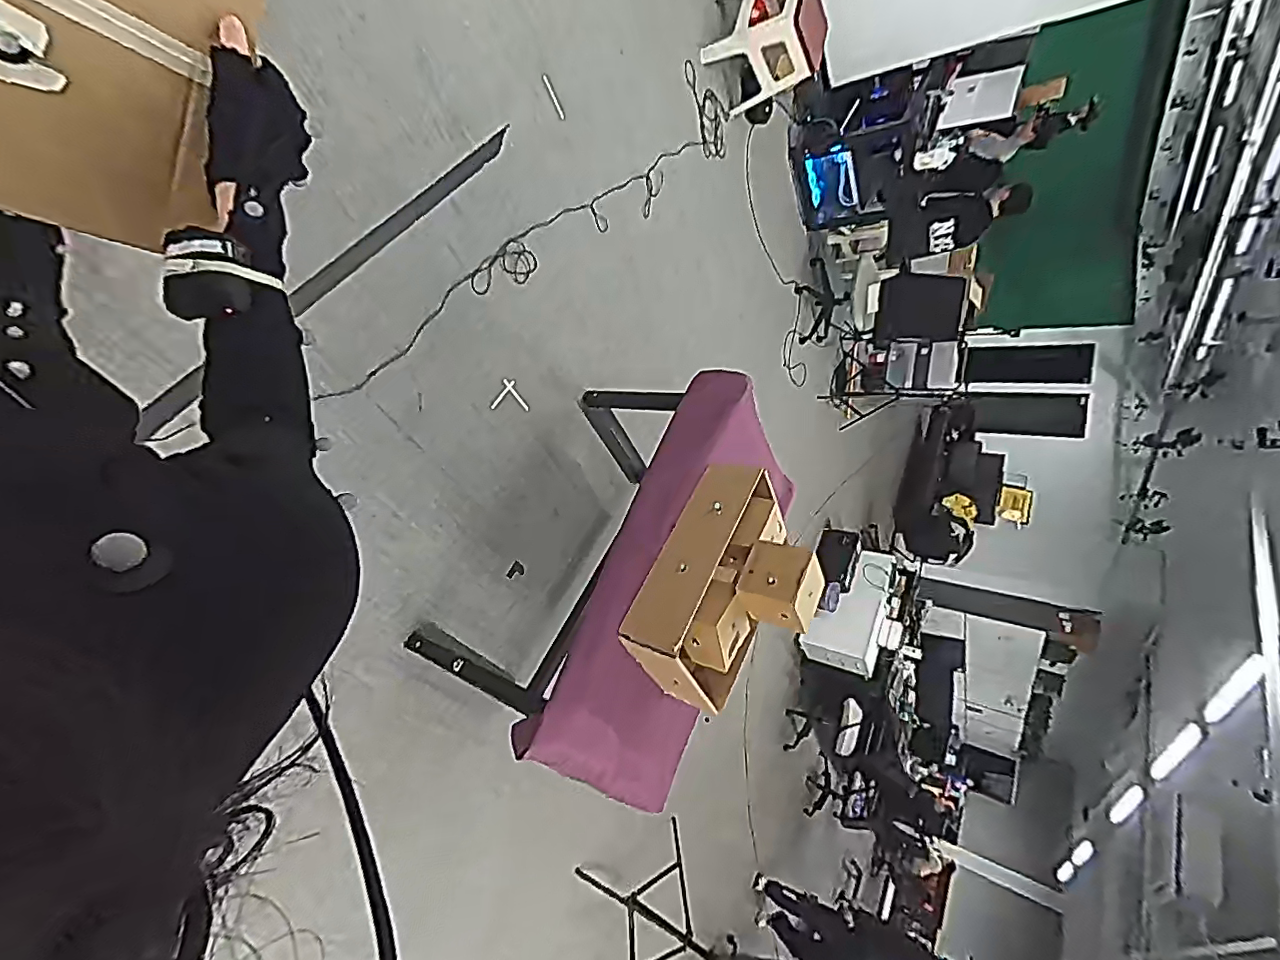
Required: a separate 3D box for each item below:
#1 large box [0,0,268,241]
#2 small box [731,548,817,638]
[{"bbox_3d":[-0.546,-0.424,0.358,0.408,0.320,0.320,0,123,-59],"label":"large box"},{"bbox_3d":[0.364,0.302,1.476,0.168,0.176,0.179,-59,140,-27],"label":"small box"}]
